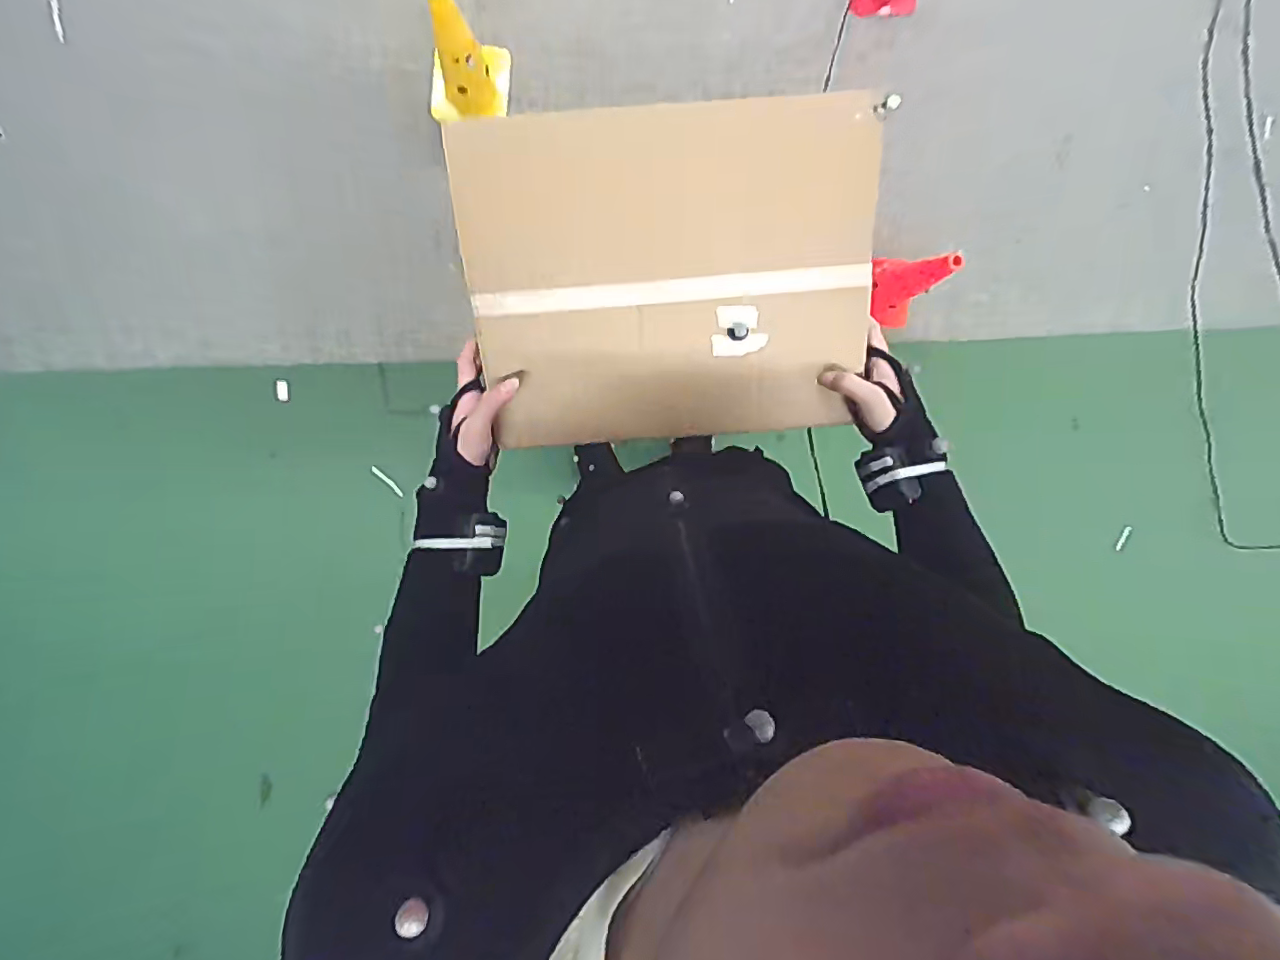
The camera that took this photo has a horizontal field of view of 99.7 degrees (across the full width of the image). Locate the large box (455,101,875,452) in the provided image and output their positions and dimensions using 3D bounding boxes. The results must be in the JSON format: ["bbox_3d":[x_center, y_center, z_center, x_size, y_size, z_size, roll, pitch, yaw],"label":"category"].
[{"bbox_3d":[0.028,-0.245,0.694,0.408,0.320,0.320,-5,112,-1],"label":"large box"}]

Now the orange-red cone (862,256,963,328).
[{"bbox_3d":[0.743,-0.545,1.471,0.199,0.360,0.198,4,98,-7],"label":"orange-red cone"}]
